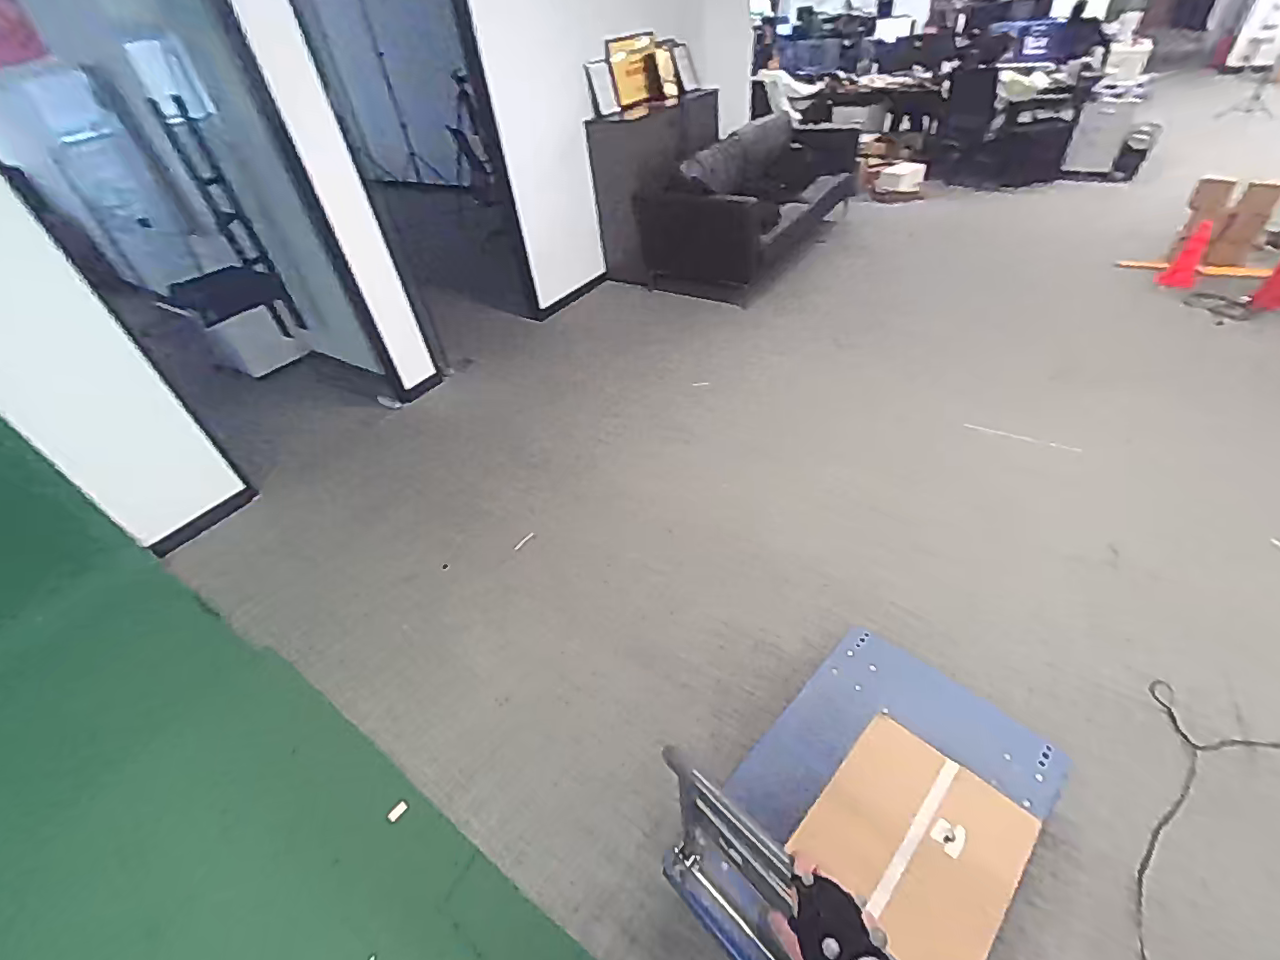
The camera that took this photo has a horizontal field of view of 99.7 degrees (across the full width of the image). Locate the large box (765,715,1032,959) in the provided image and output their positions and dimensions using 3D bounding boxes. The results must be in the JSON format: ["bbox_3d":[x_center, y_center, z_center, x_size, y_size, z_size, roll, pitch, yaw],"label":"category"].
[{"bbox_3d":[0.489,0.780,1.070,0.408,0.320,0.320,-36,48,-30],"label":"large box"}]
